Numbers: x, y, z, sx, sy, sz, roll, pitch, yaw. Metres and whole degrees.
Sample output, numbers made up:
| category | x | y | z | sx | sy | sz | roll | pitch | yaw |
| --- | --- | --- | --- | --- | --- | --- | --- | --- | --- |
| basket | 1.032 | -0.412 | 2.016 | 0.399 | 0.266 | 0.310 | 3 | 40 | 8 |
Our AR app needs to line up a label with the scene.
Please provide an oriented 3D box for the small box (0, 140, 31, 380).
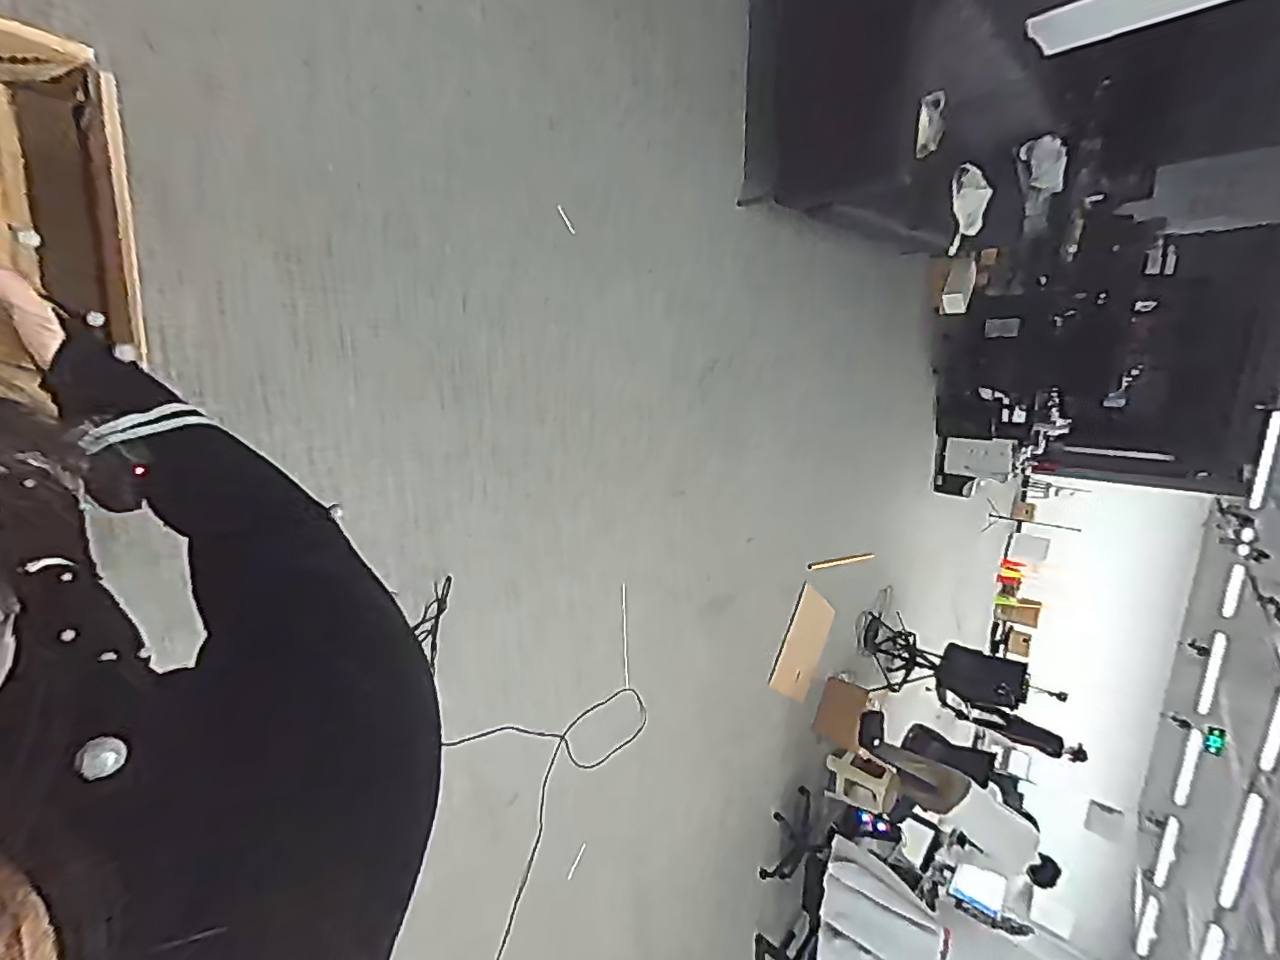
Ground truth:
| category | x | y | z | sx | sy | sz | roll | pitch | yaw |
| --- | --- | --- | --- | --- | --- | --- | --- | --- | --- |
| small box | -0.626 | -0.199 | 0.434 | 0.168 | 0.176 | 0.179 | -8 | 77 | -46 |
